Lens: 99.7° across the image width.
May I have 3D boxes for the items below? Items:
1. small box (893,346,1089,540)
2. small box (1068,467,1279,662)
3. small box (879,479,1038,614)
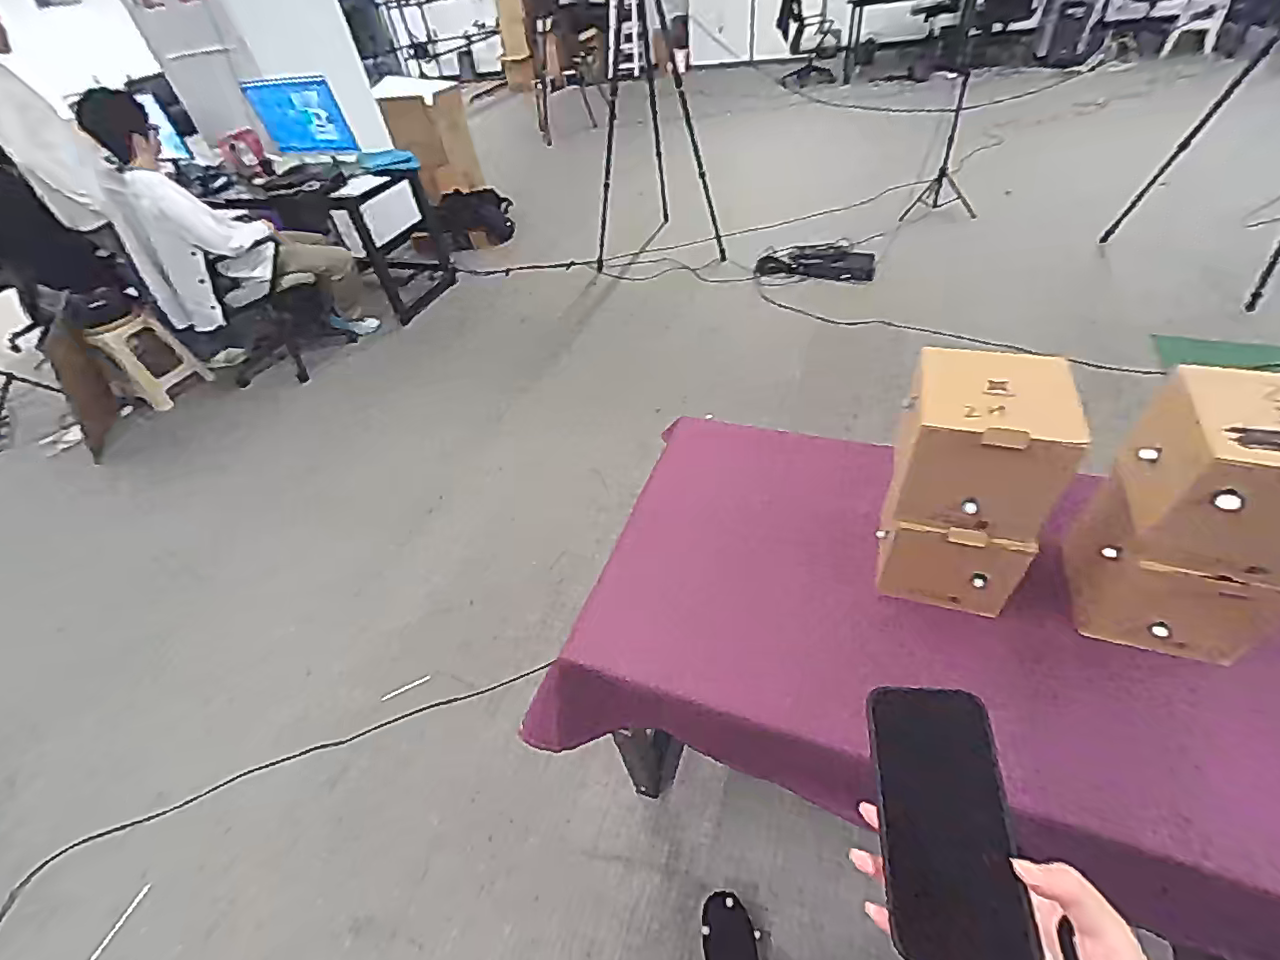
[{"bbox_3d":[0.438,-0.051,0.706,0.168,0.176,0.179,10,48,19],"label":"small box"},{"bbox_3d":[0.713,0.111,0.727,0.168,0.176,0.179,10,49,20],"label":"small box"},{"bbox_3d":[0.464,0.074,0.812,0.168,0.176,0.179,10,48,19],"label":"small box"}]
